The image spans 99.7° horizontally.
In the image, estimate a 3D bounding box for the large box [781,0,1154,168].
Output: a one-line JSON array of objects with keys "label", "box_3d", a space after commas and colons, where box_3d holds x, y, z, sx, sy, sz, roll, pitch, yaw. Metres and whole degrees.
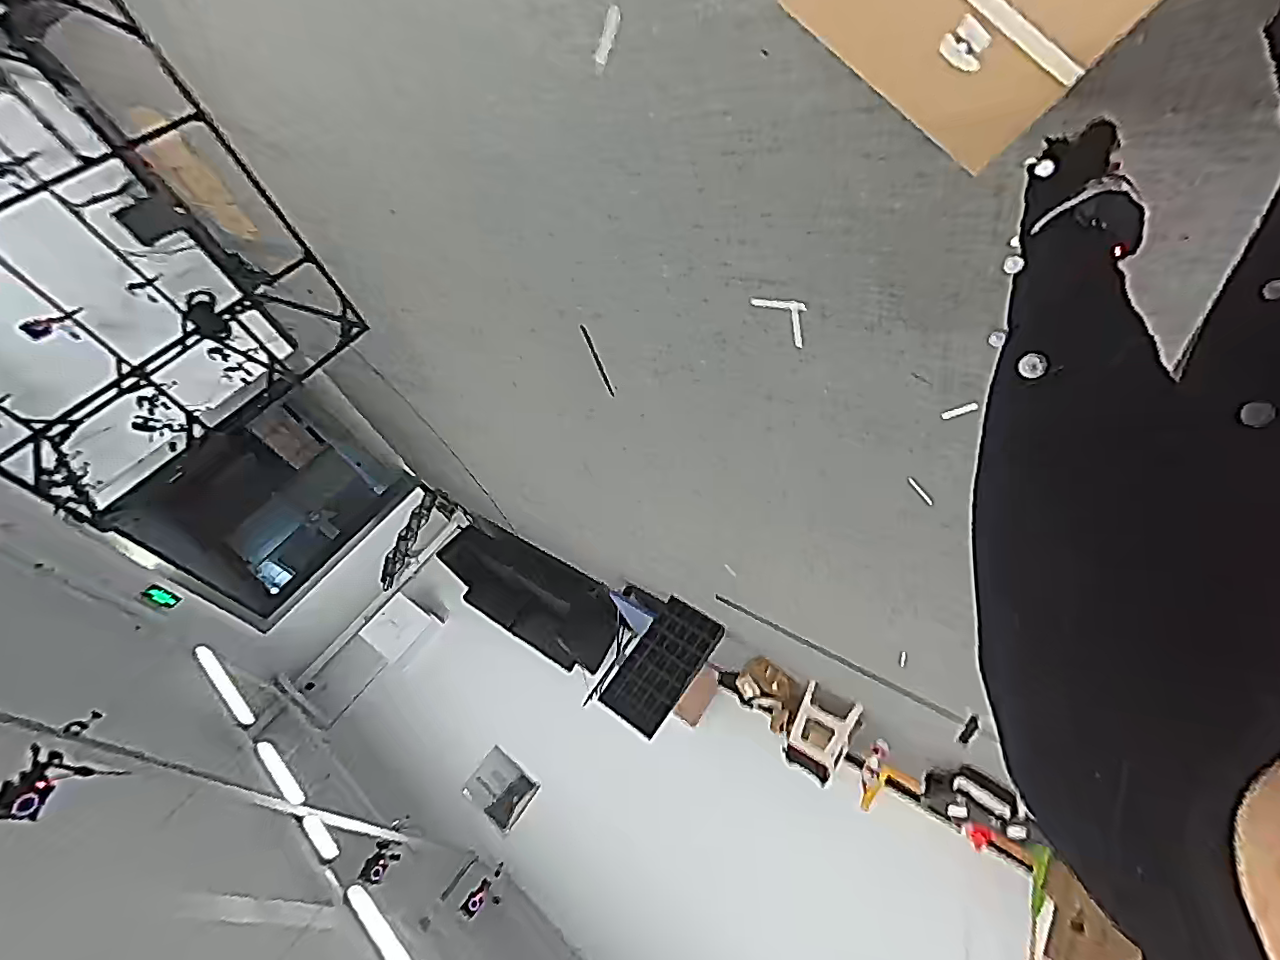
[{"label": "large box", "box_3d": [0.487, -0.748, 0.740, 0.408, 0.320, 0.320, 39, 158, -2]}]
